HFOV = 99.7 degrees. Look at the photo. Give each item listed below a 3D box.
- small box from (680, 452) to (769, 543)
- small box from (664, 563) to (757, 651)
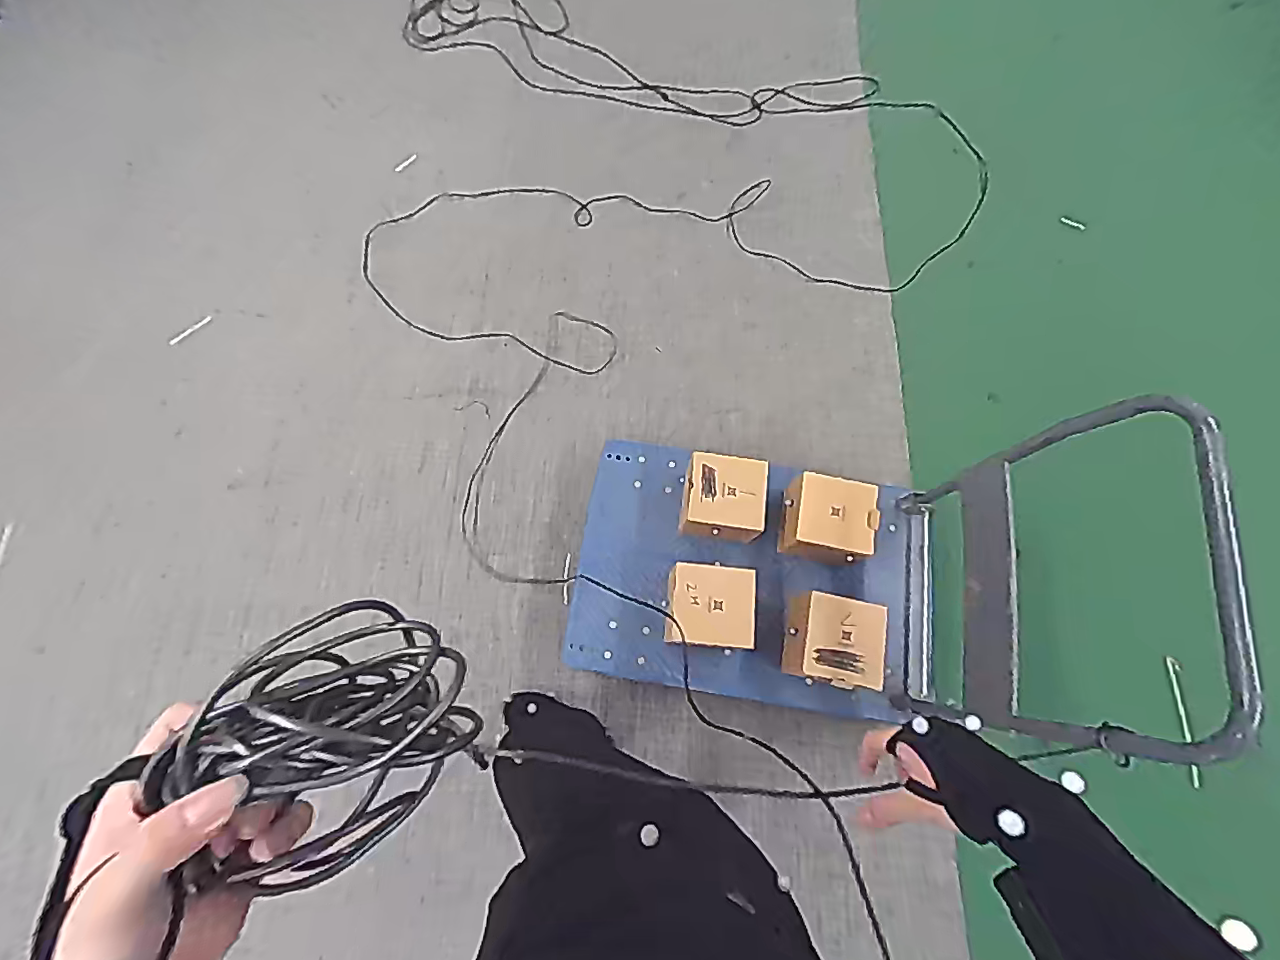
[{"bbox_3d":[0.194,0.047,1.285,0.179,0.176,0.168,9,74,-1],"label":"small box"},{"bbox_3d":[0.153,0.287,1.210,0.179,0.176,0.168,6,72,0],"label":"small box"}]
